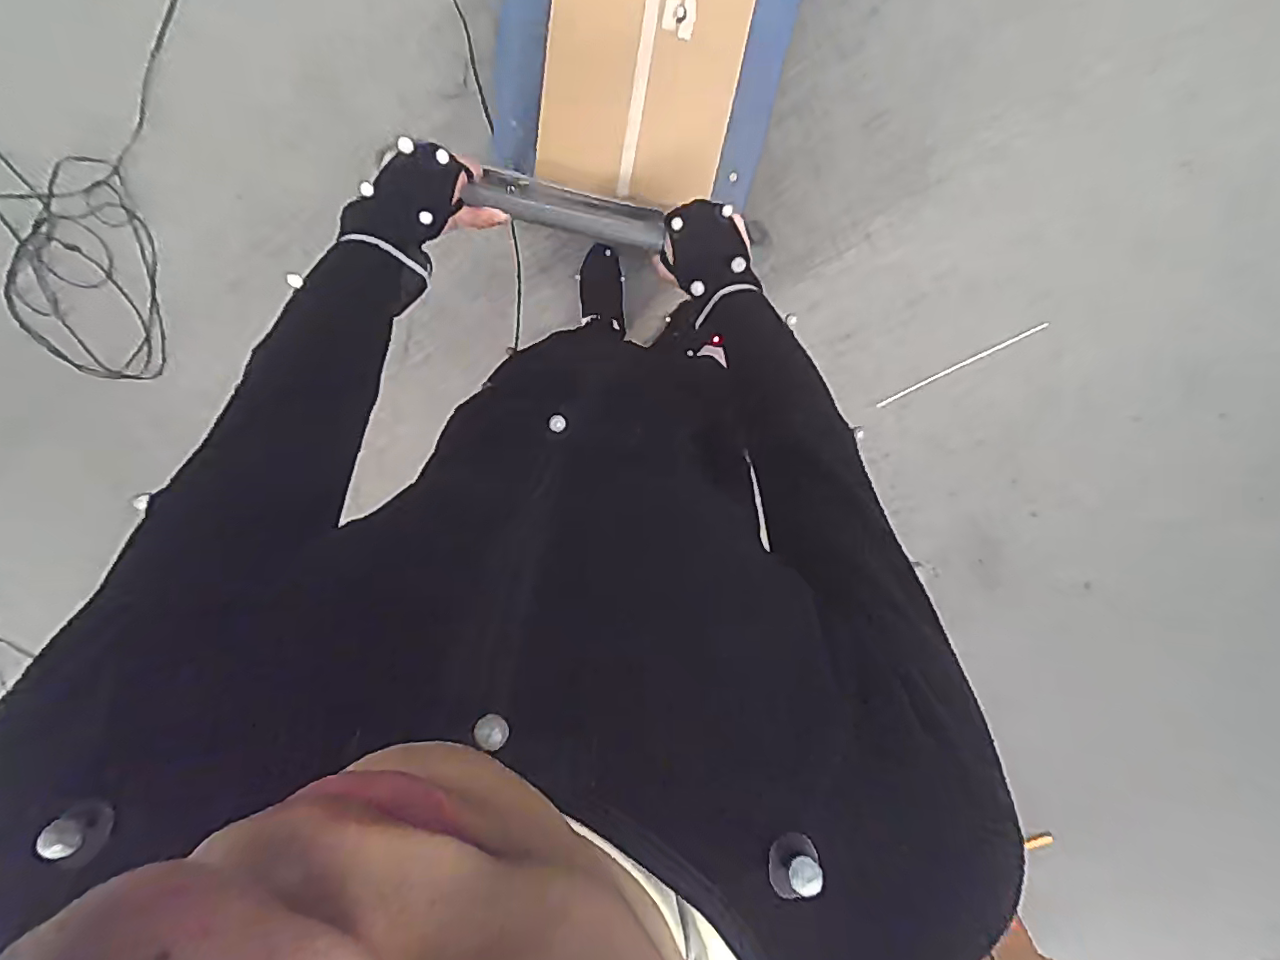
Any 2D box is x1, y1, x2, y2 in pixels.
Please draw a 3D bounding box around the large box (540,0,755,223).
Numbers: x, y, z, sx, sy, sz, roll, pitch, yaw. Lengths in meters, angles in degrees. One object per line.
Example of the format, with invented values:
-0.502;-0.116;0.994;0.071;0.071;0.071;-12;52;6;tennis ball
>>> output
0.013;-0.737;1.028;0.320;0.320;0.408;12;114;-3;large box
